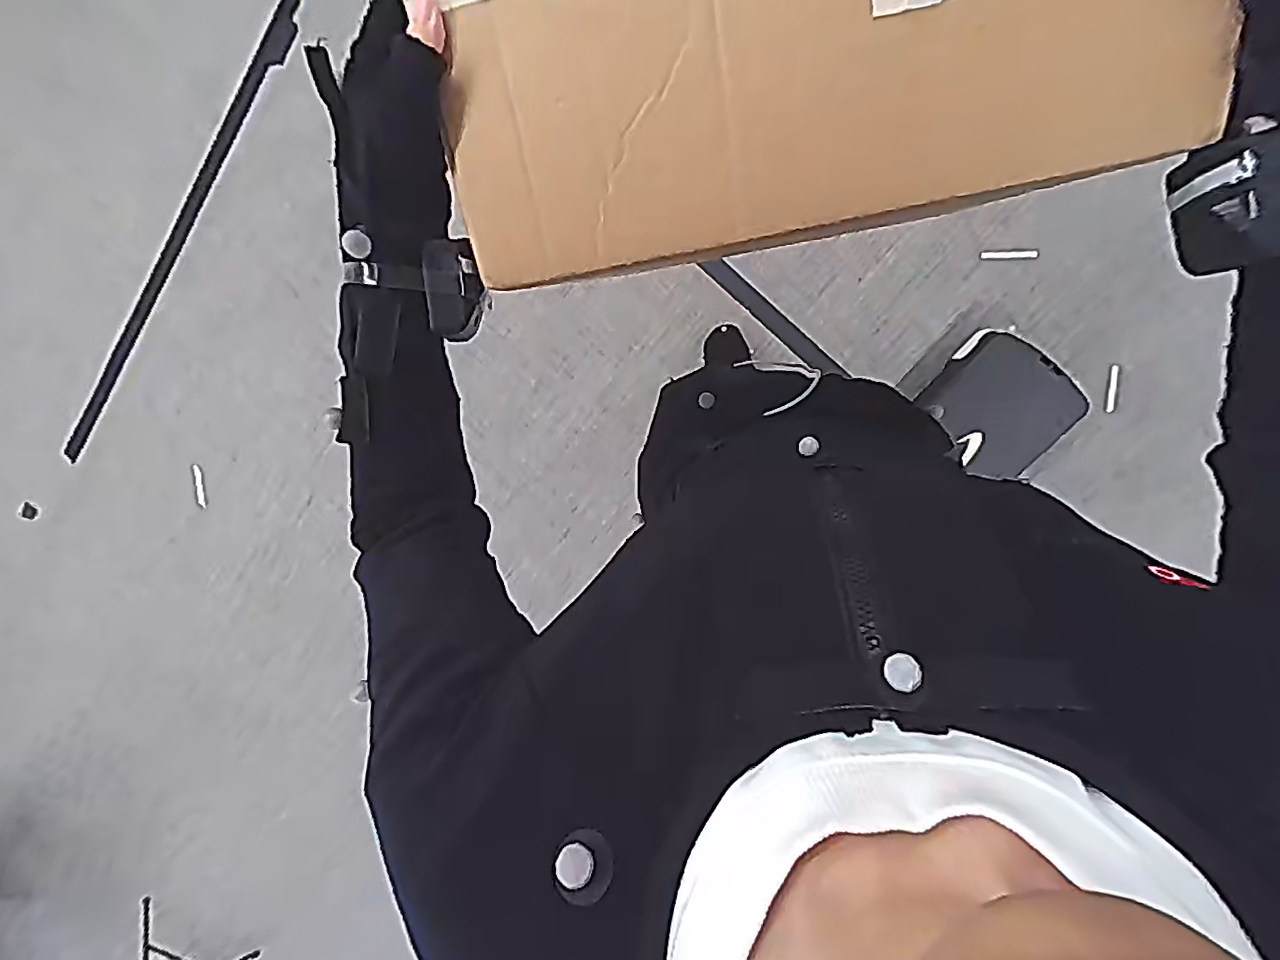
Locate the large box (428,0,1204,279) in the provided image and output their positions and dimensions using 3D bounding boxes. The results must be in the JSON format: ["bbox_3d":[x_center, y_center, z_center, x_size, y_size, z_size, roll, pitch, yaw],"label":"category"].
[{"bbox_3d":[0.086,-0.355,0.412,0.408,0.320,0.320,-8,110,11],"label":"large box"}]
